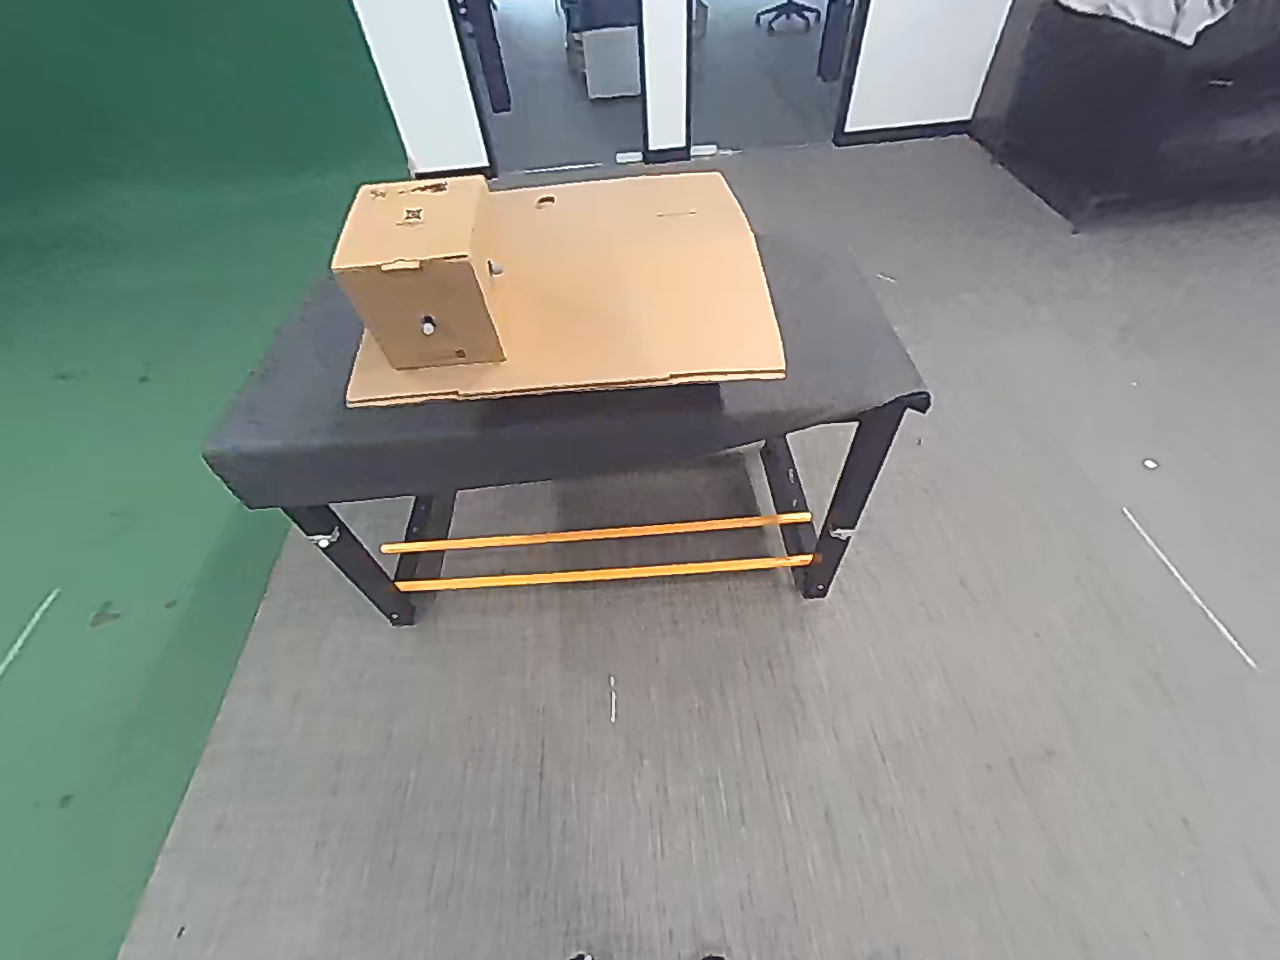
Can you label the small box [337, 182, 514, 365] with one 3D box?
[{"bbox_3d":[-0.277,-0.273,0.743,0.168,0.176,0.179,-5,59,1],"label":"small box"}]
